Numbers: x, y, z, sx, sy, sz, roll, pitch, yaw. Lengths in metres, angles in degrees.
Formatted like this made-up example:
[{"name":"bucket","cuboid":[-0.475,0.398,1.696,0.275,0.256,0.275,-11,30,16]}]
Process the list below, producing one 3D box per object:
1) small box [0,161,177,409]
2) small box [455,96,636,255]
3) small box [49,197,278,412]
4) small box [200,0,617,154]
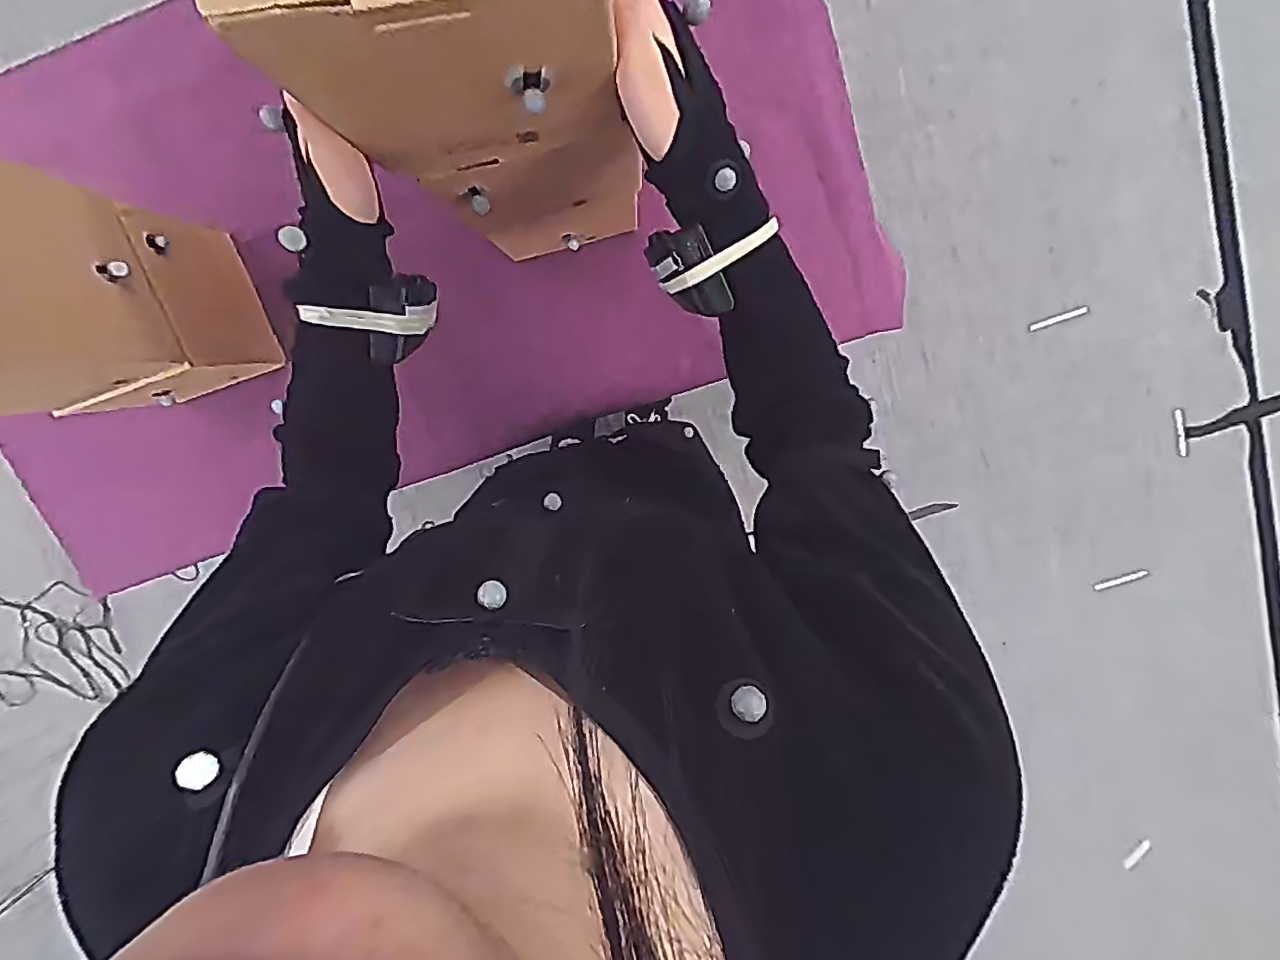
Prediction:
[{"name":"small box","cuboid":[-0.575,-0.163,0.469,0.168,0.176,0.179,-19,101,4]},{"name":"small box","cuboid":[-0.104,-0.369,0.594,0.168,0.176,0.179,-13,102,3]},{"name":"small box","cuboid":[-0.574,-0.193,0.630,0.168,0.176,0.179,-18,102,4]},{"name":"small box","cuboid":[-0.105,-0.292,0.275,0.168,0.176,0.179,-8,100,1]}]
